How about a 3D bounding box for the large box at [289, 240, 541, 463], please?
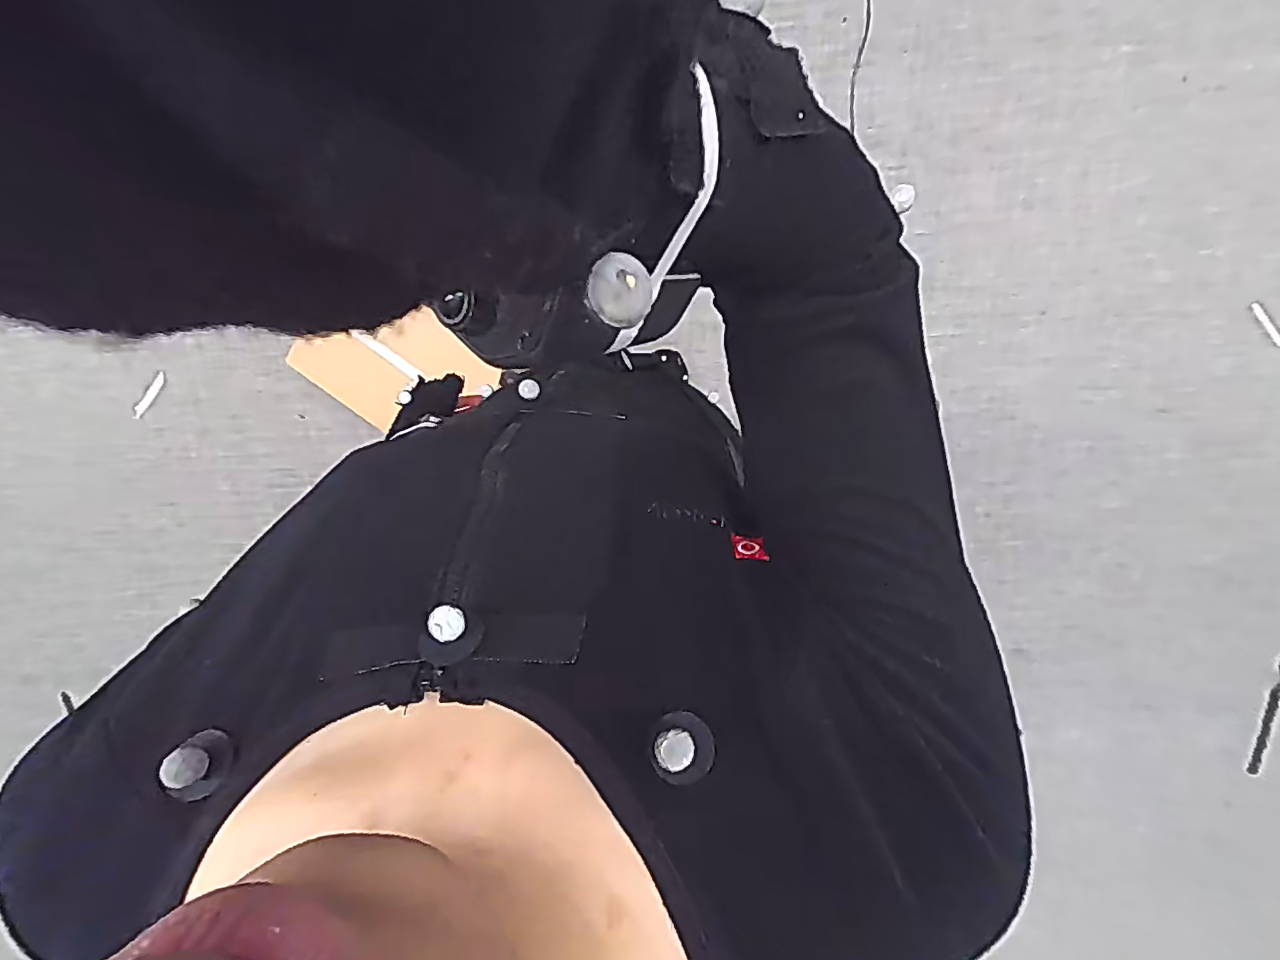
[{"bbox_3d":[-0.511,-0.301,1.304,0.408,0.320,0.320,36,103,-7],"label":"large box"}]
